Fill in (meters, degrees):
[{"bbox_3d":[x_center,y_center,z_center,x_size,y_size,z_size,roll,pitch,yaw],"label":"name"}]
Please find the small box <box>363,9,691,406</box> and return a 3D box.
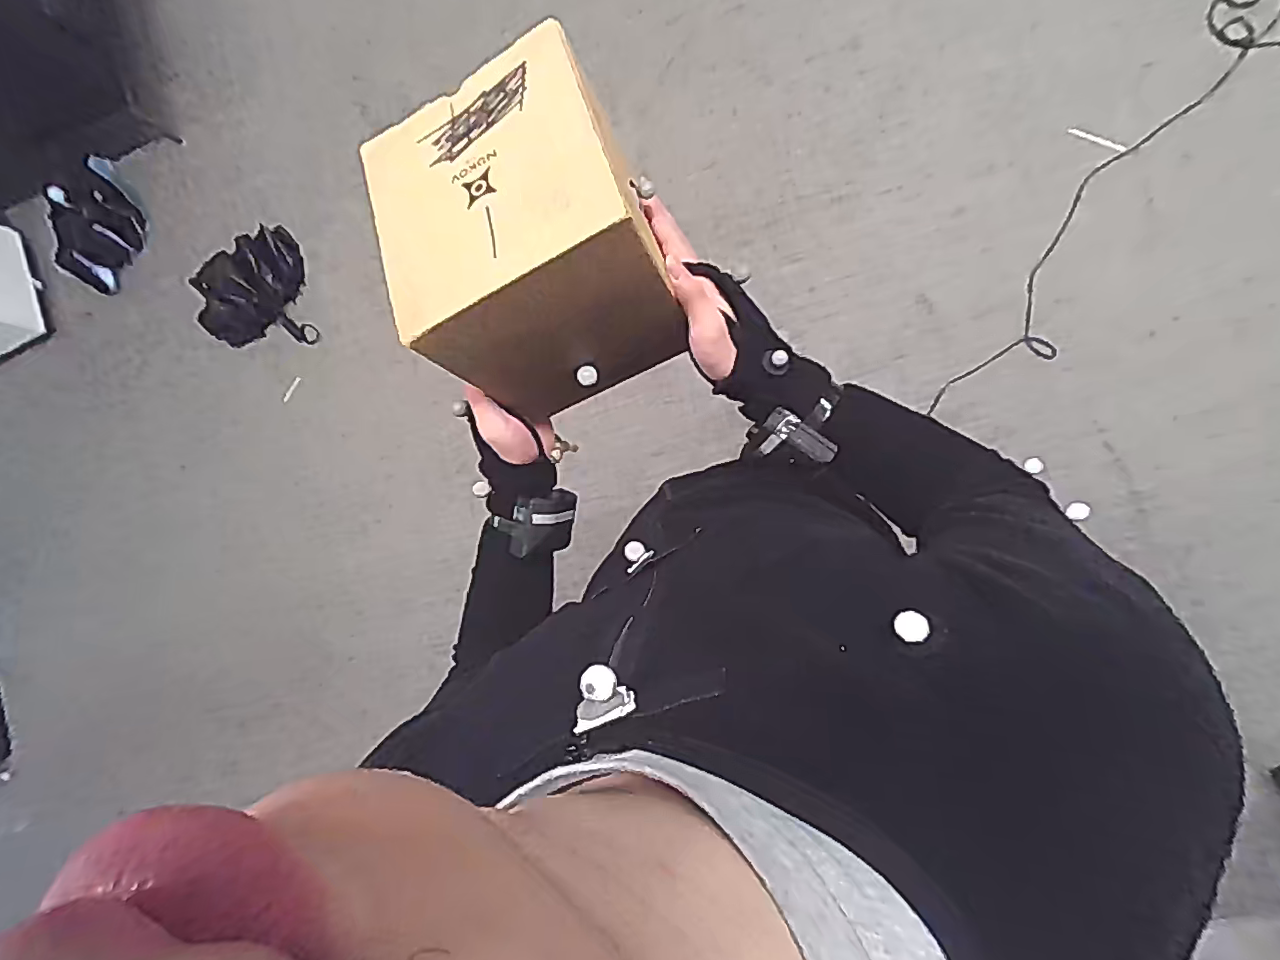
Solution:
[{"bbox_3d":[-0.076,-0.184,0.418,0.168,0.176,0.179,-22,73,15],"label":"small box"}]
